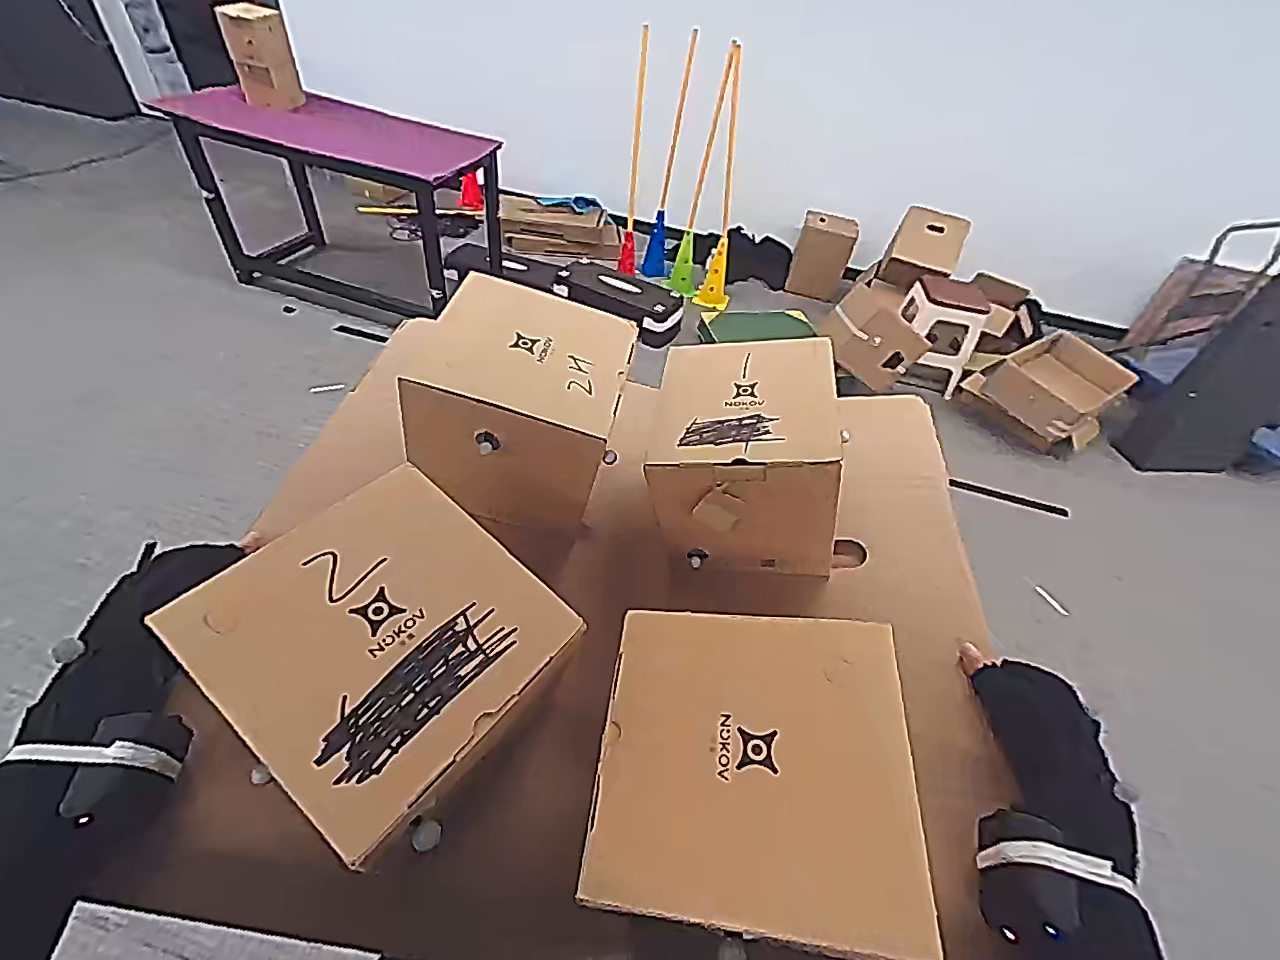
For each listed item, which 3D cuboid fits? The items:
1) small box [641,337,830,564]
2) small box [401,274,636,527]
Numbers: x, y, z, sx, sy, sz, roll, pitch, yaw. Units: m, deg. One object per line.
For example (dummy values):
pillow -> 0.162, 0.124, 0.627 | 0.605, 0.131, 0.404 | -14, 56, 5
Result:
small box -> 0.109, -0.027, 0.571 | 0.168, 0.176, 0.179 | 1, 48, 14
small box -> -0.119, -0.073, 0.556 | 0.179, 0.176, 0.168 | 17, 51, -6
